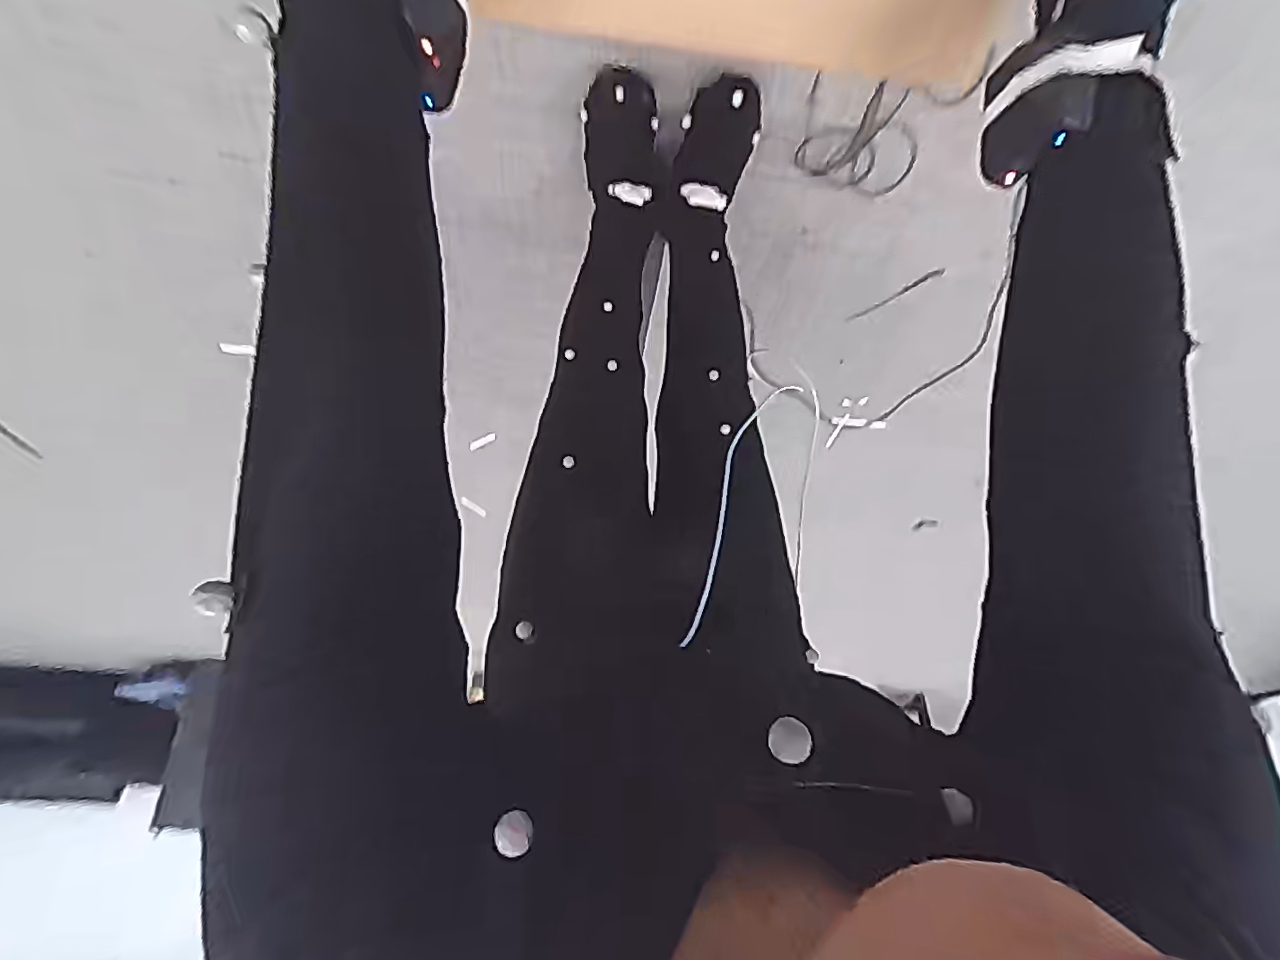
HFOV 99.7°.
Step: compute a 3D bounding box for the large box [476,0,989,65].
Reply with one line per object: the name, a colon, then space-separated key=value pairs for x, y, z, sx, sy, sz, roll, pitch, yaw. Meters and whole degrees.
large box: x=0.082 y=-0.564 z=0.399 sx=0.408 sy=0.320 sz=0.320 roll=5 pitch=144 yaw=-4
